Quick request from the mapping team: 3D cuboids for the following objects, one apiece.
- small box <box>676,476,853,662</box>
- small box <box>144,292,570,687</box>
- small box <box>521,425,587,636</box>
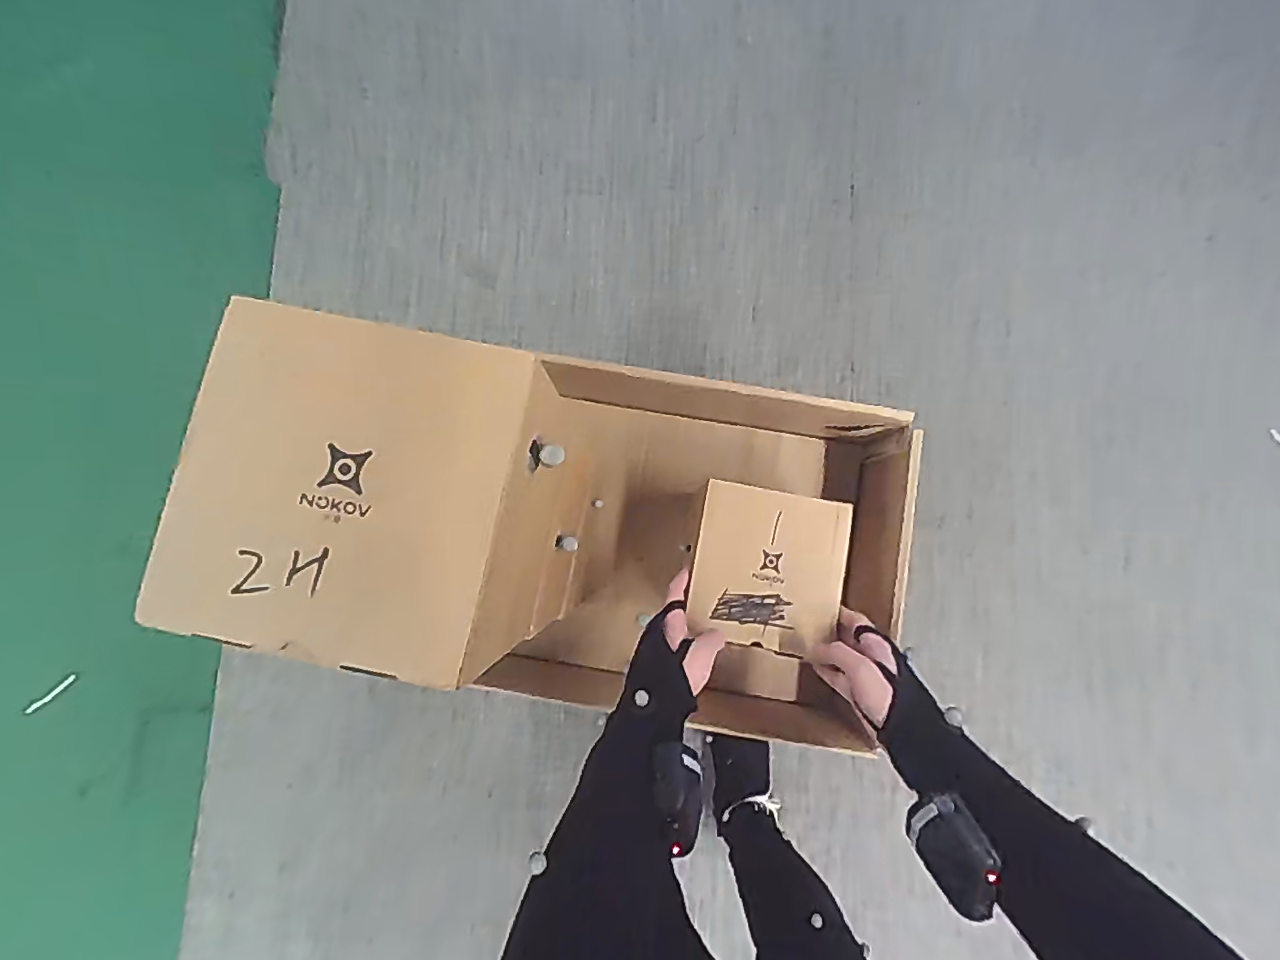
[{"bbox_3d":[0.141,0.105,0.670,0.168,0.176,0.179,11,83,1],"label":"small box"},{"bbox_3d":[-0.148,0.010,0.354,0.168,0.176,0.179,12,84,2],"label":"small box"},{"bbox_3d":[-0.149,0.033,0.518,0.168,0.176,0.179,11,84,1],"label":"small box"}]
